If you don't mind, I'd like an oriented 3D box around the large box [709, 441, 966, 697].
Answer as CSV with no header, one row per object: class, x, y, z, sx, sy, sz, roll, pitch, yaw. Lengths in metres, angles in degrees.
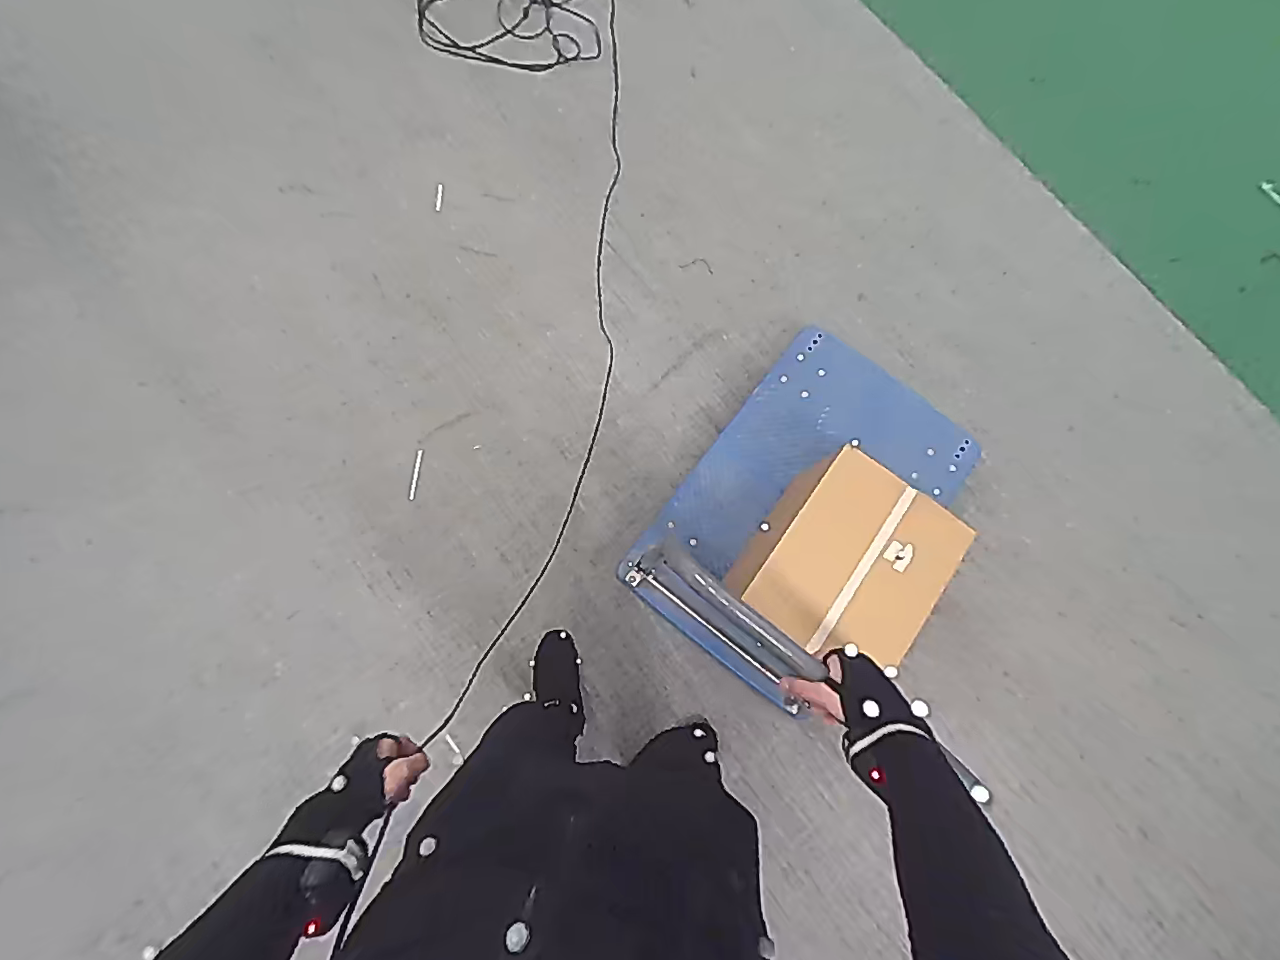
large box,0.406,0.195,1.192,0.320,0.320,0.408,37,78,3
